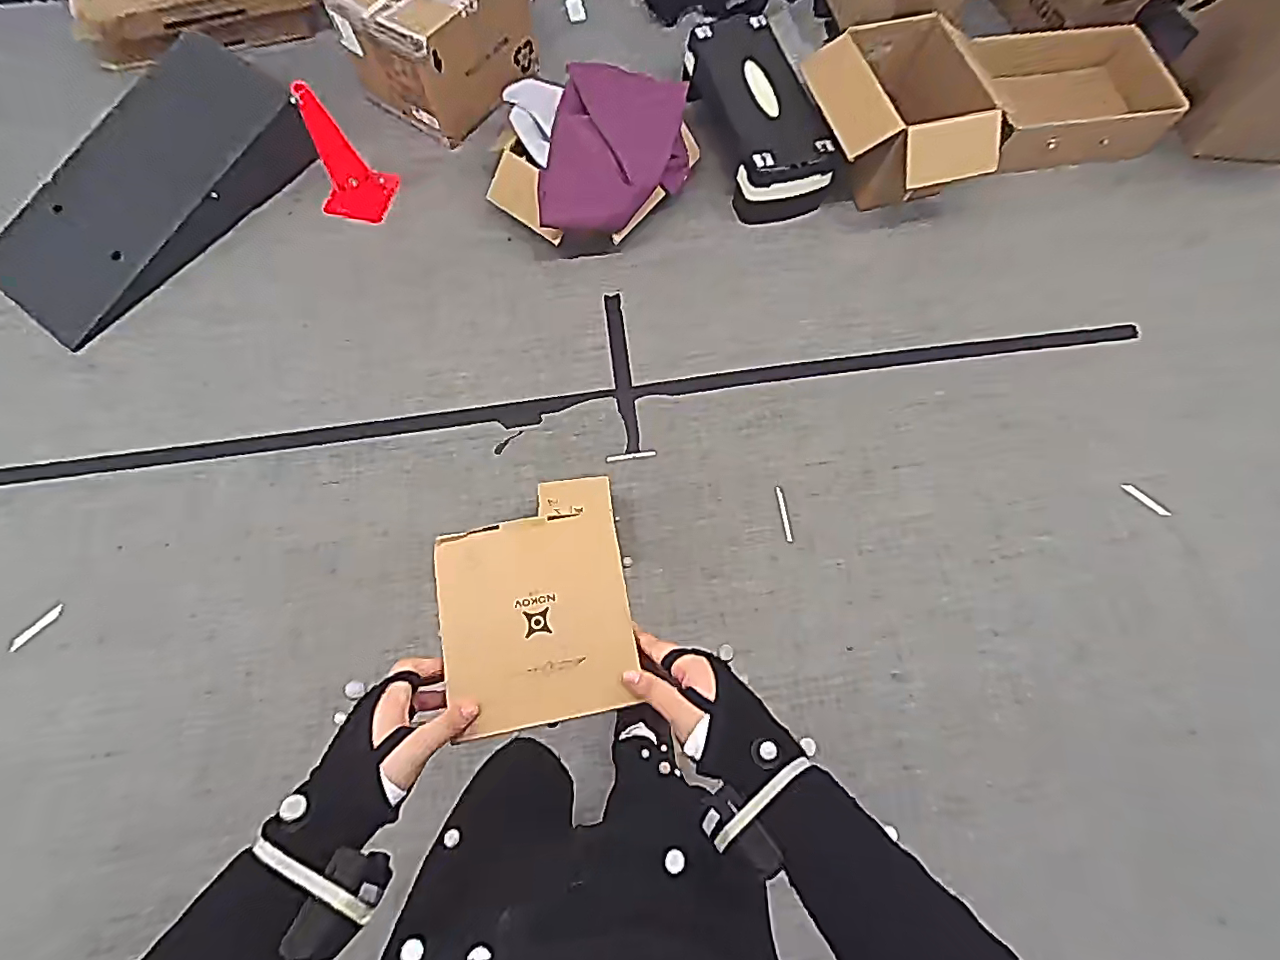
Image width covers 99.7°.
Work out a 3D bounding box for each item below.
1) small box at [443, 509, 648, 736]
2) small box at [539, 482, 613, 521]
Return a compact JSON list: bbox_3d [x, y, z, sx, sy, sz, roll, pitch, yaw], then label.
[{"bbox_3d":[-0.093,0.143,0.559,0.168,0.176,0.179,-10,75,-6],"label":"small box"},{"bbox_3d":[-0.153,0.113,1.358,0.179,0.176,0.168,-6,72,-3],"label":"small box"}]
